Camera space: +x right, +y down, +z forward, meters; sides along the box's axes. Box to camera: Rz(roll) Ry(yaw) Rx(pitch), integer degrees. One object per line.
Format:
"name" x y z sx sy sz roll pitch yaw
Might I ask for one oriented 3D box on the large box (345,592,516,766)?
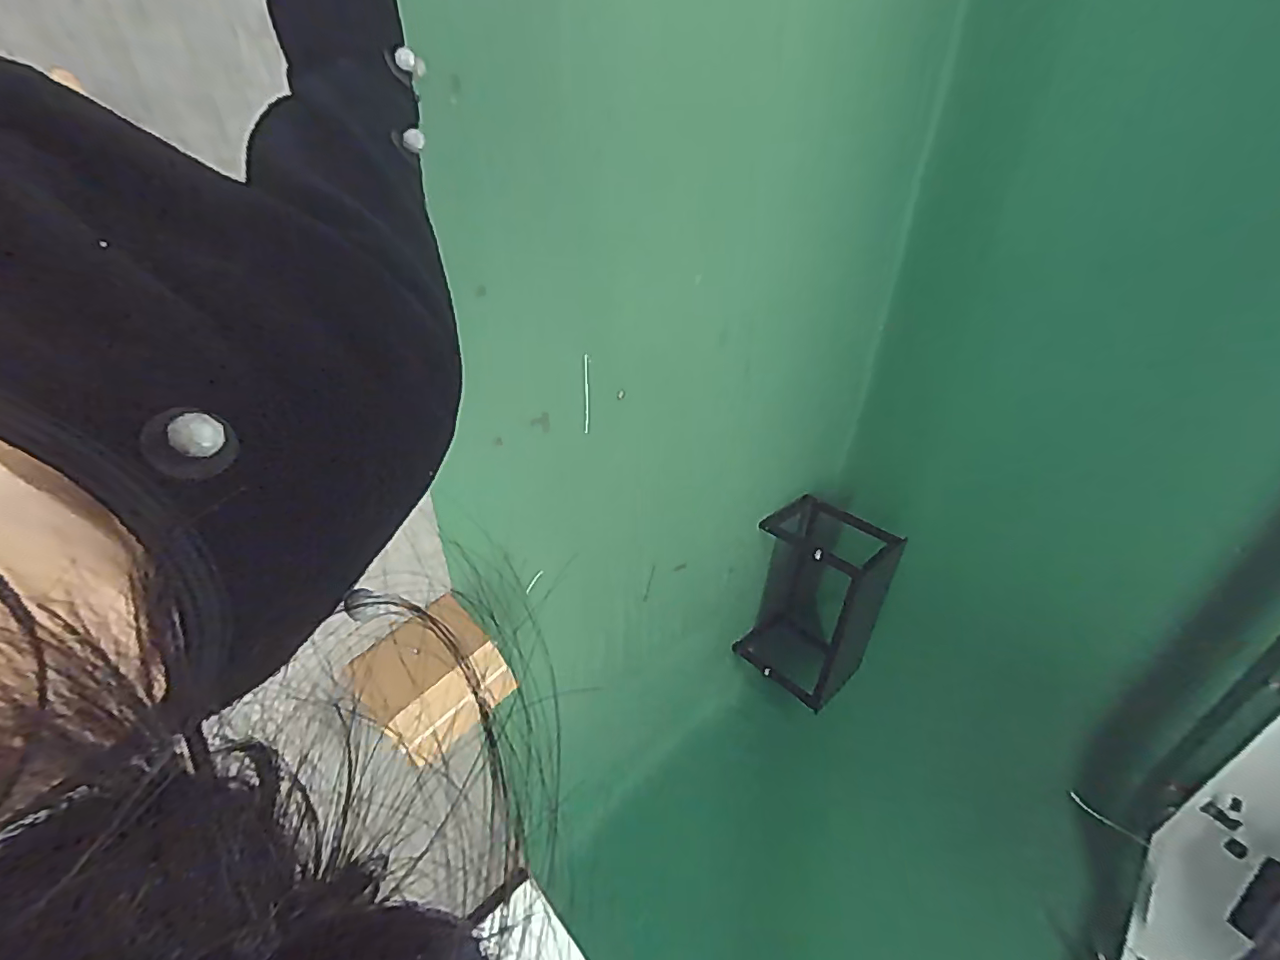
"large box" -0.718 0.680 1.886 0.408 0.320 0.320 -38 138 -27
